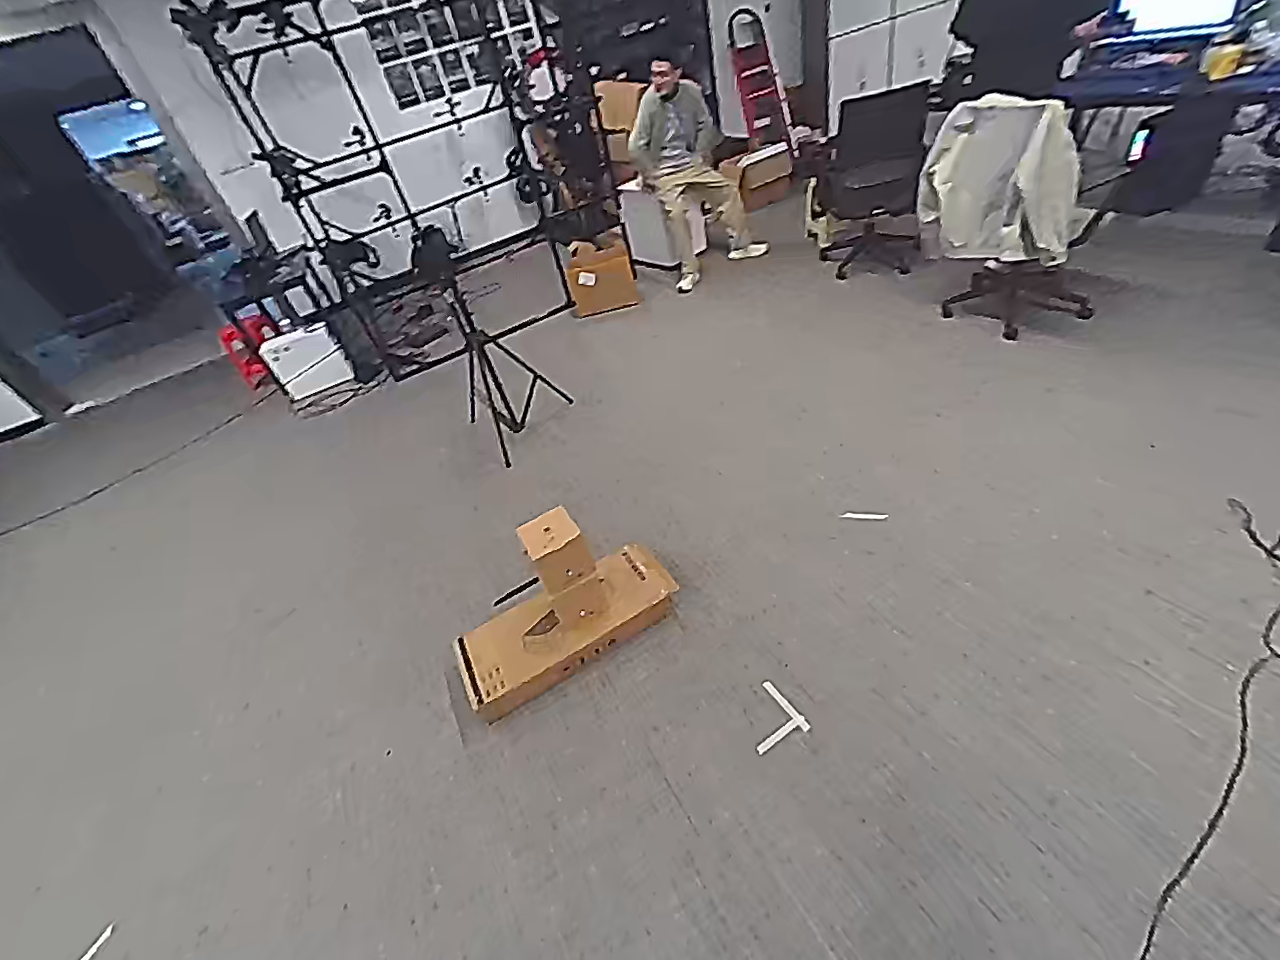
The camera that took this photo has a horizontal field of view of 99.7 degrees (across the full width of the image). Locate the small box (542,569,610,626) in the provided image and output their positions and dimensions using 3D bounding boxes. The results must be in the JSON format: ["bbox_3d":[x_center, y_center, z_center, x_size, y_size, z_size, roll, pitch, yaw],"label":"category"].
[{"bbox_3d":[-0.220,0.349,1.798,0.168,0.176,0.179,-26,40,-11],"label":"small box"}]

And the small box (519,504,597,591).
[{"bbox_3d":[-0.258,0.215,1.707,0.168,0.176,0.179,-29,40,-14],"label":"small box"}]
